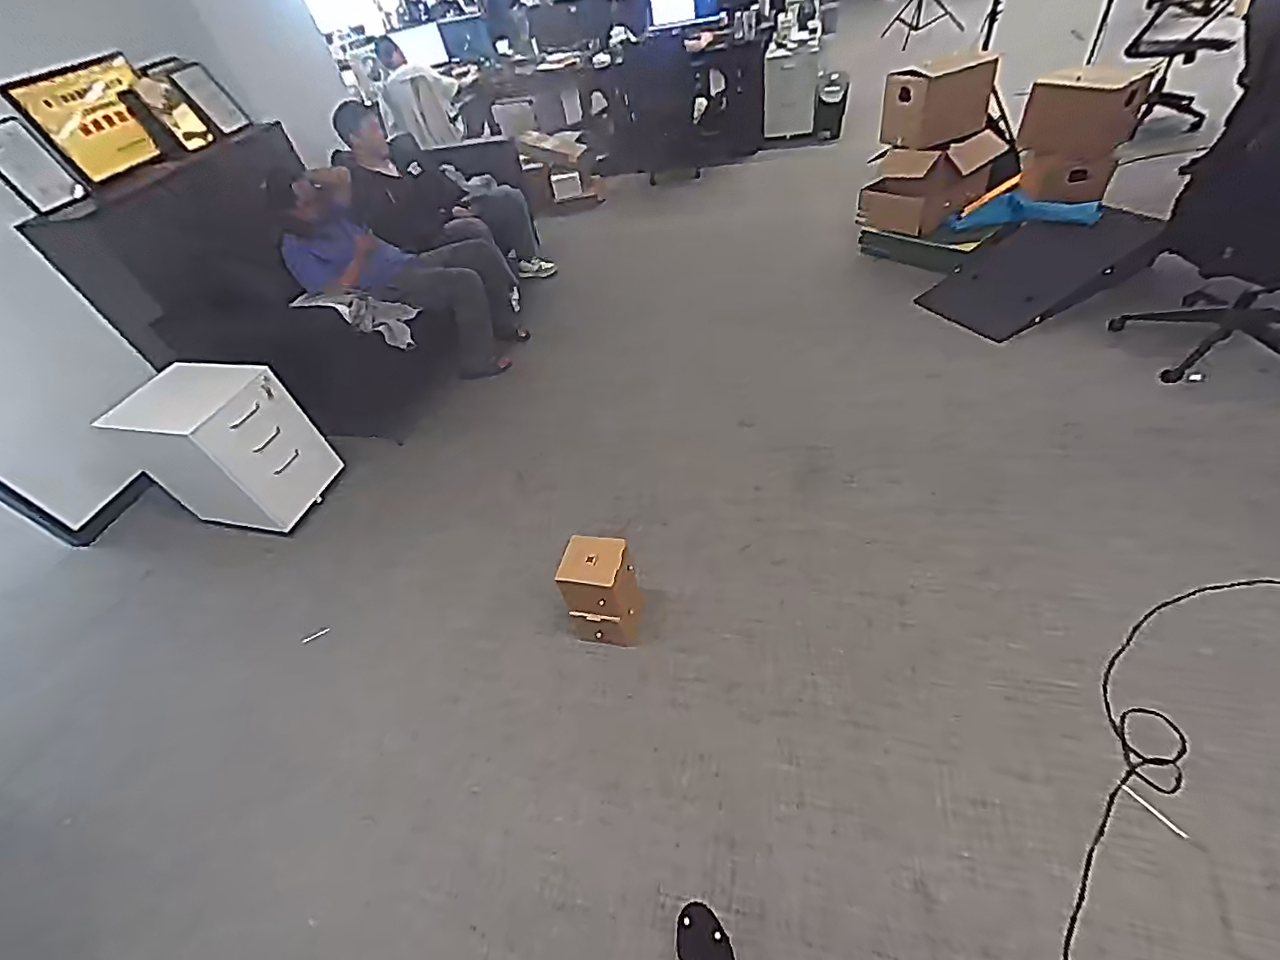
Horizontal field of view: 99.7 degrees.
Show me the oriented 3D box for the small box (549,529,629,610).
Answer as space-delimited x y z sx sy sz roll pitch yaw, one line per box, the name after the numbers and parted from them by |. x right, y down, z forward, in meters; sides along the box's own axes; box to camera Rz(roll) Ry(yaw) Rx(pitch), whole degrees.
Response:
-0.142 0.266 1.594 0.179 0.176 0.168 3 47 16 | small box

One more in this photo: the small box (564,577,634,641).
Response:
-0.122 0.393 1.723 0.168 0.176 0.179 2 47 15 | small box
